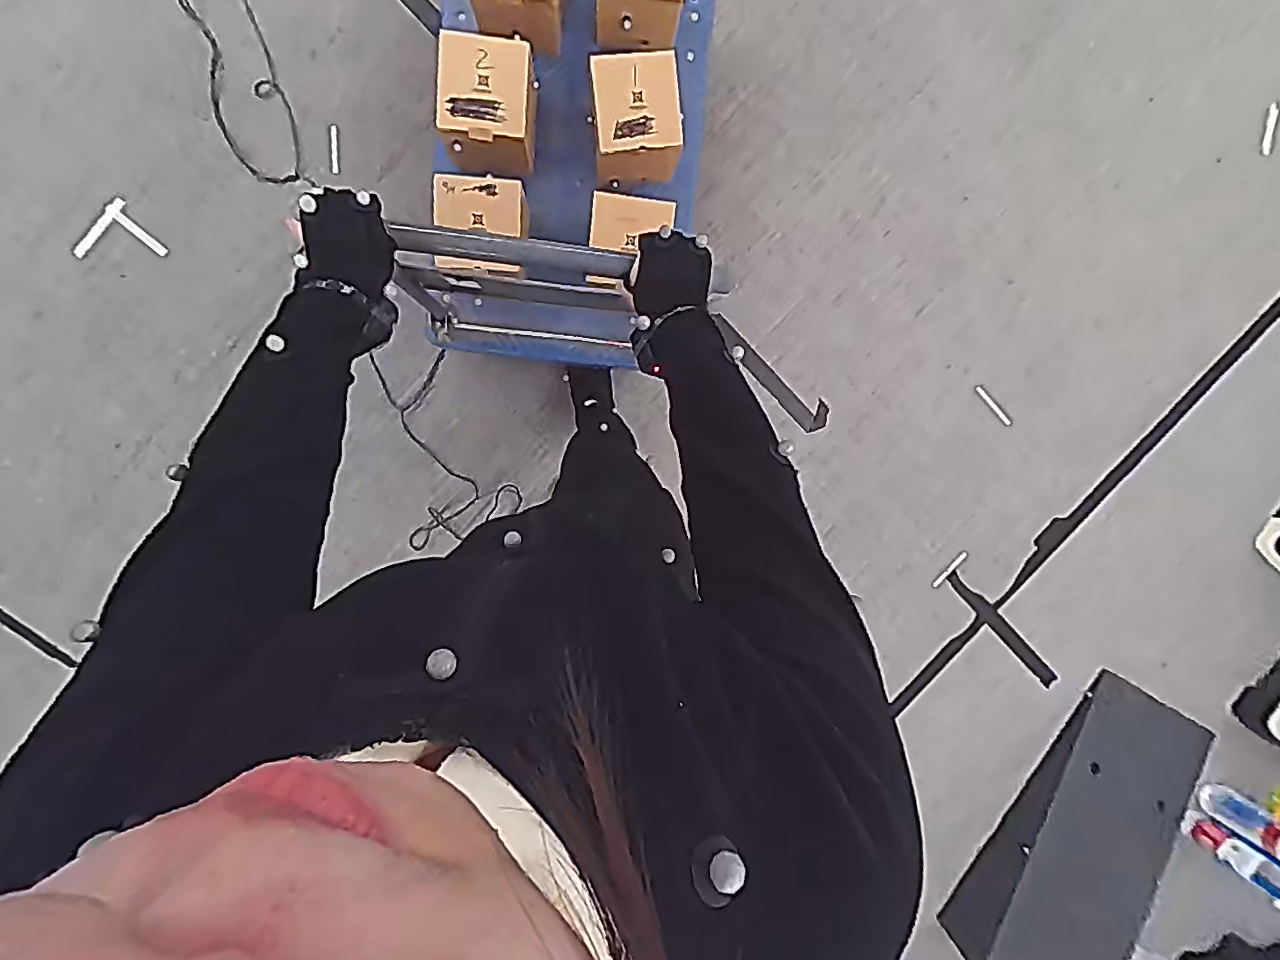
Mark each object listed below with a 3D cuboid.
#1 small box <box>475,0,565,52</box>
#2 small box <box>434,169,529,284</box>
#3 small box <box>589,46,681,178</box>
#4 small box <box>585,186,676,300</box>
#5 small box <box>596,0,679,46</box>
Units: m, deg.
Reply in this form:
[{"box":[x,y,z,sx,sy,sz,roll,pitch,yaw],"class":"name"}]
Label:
[{"box":[-0.237,-1.002,1.063,0.168,0.176,0.179,7,98,-6],"class":"small box"},{"box":[-0.321,-0.514,1.122,0.168,0.176,0.179,1,98,-7],"class":"small box"},{"box":[-0.014,-0.749,1.120,0.168,0.176,0.179,-7,98,-4],"class":"small box"},{"box":[-0.026,-0.493,1.156,0.168,0.176,0.179,5,97,-7],"class":"small box"},{"box":[-0.003,-1.019,1.085,0.168,0.176,0.179,2,98,-5],"class":"small box"}]
